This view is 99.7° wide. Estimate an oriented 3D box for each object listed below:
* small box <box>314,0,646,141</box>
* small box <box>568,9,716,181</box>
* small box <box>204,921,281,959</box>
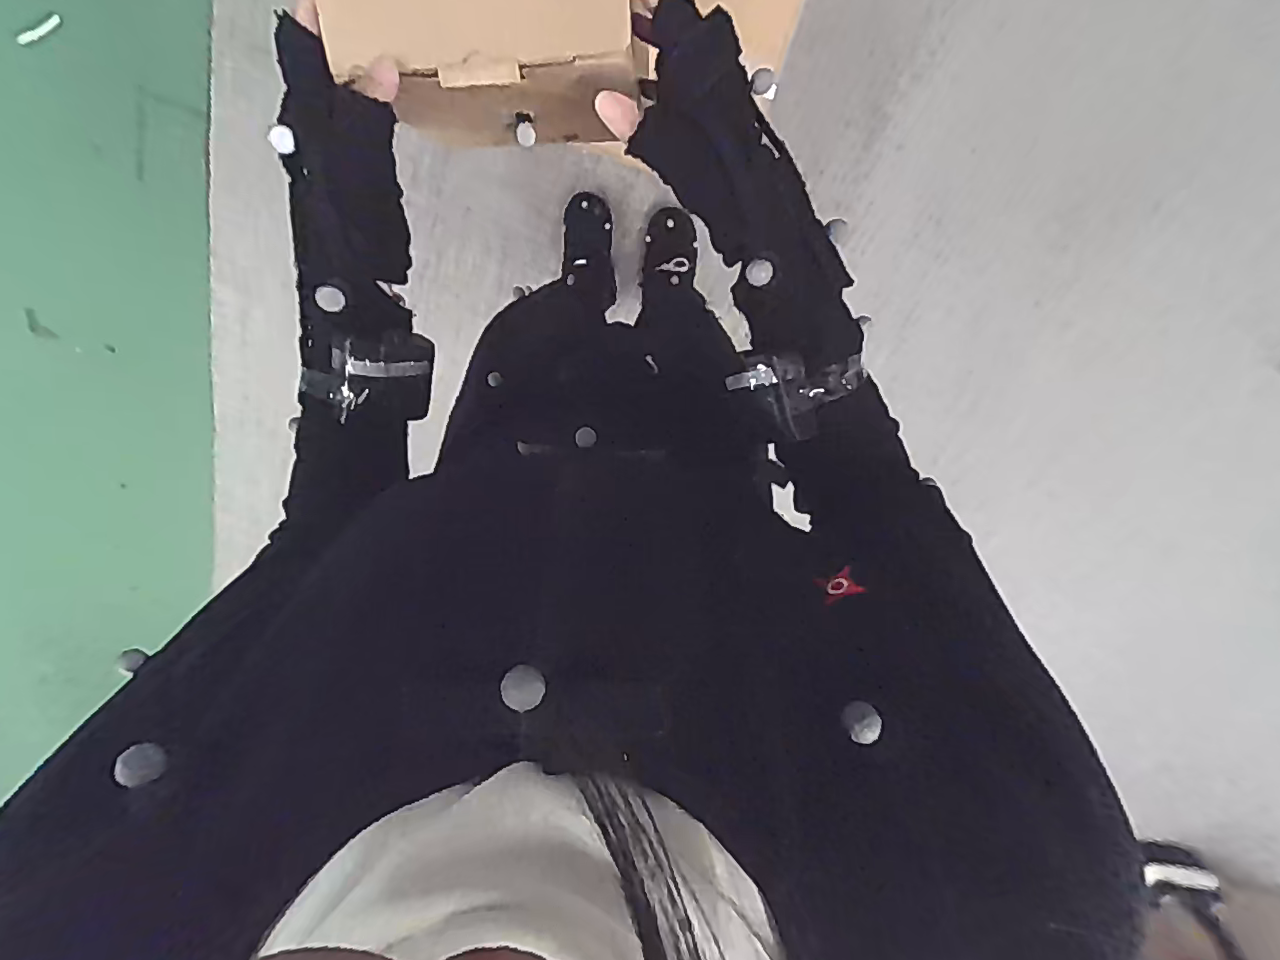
[{"bbox_3d":[-0.086,-0.328,0.338,0.168,0.176,0.179,0,111,5],"label":"small box"},{"bbox_3d":[-0.003,-0.560,0.780,0.179,0.176,0.168,22,122,-6],"label":"small box"},{"bbox_3d":[-1.243,1.498,1.661,0.179,0.176,0.168,24,120,-7],"label":"small box"}]
